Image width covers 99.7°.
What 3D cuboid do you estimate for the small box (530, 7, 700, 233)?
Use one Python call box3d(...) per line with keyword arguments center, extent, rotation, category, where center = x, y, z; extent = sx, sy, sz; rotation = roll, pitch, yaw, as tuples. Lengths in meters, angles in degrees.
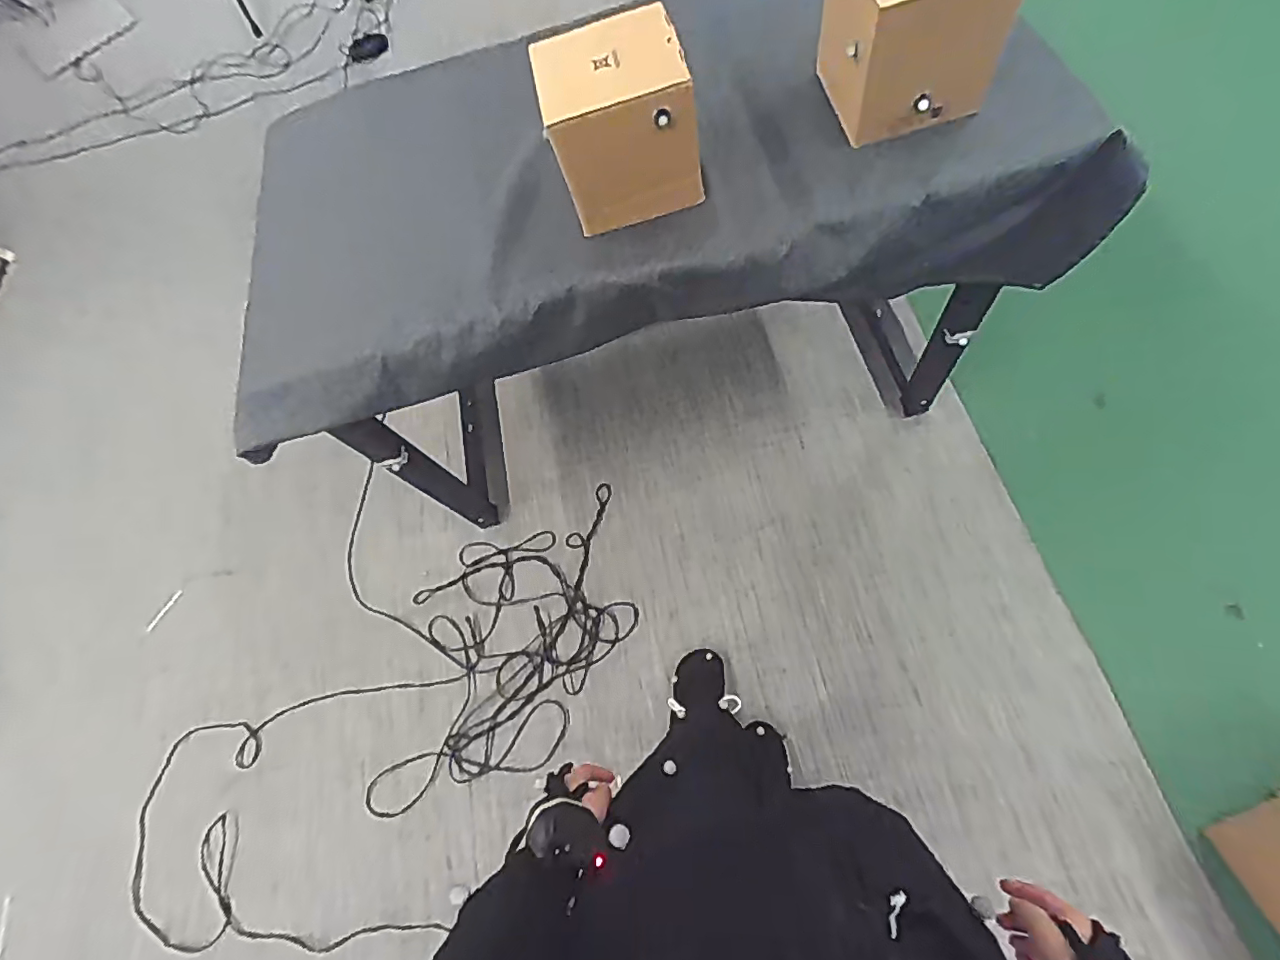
box3d(center=(-0.027, -0.460, 0.713), extent=(0.179, 0.176, 0.168), rotation=(-14, 65, 4), category="small box")
